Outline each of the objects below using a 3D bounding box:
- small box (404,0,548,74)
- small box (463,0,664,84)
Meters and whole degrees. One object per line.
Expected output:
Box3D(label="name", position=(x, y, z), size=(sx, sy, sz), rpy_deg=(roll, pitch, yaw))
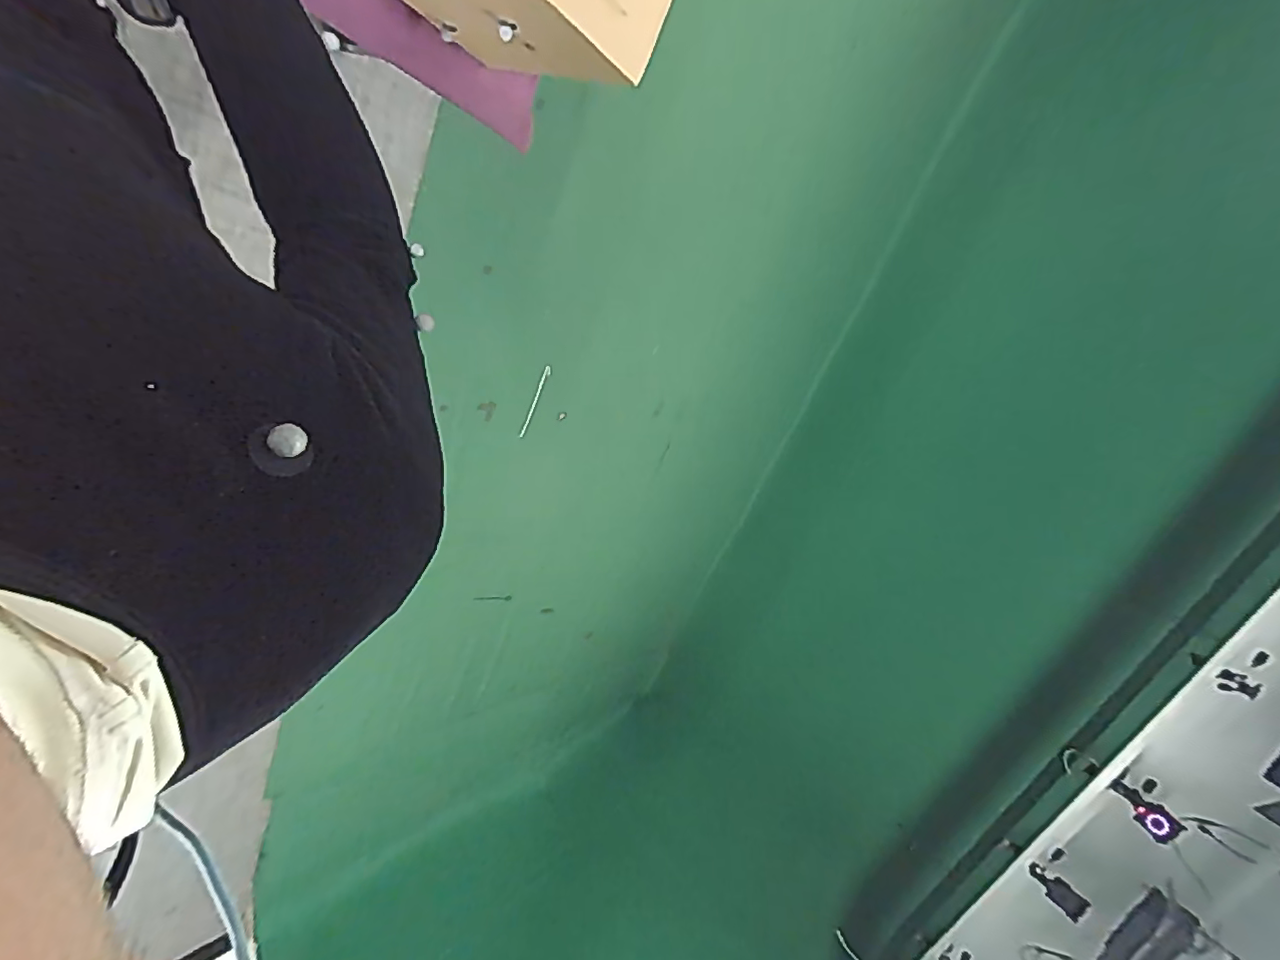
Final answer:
Box3D(label="small box", position=(-0.193, -0.645, 0.660), size=(0.179, 0.176, 0.168), rpy_deg=(4, 116, -53))
Box3D(label="small box", position=(-0.079, -0.568, 0.573), size=(0.168, 0.176, 0.179), rpy_deg=(5, 116, -51))
